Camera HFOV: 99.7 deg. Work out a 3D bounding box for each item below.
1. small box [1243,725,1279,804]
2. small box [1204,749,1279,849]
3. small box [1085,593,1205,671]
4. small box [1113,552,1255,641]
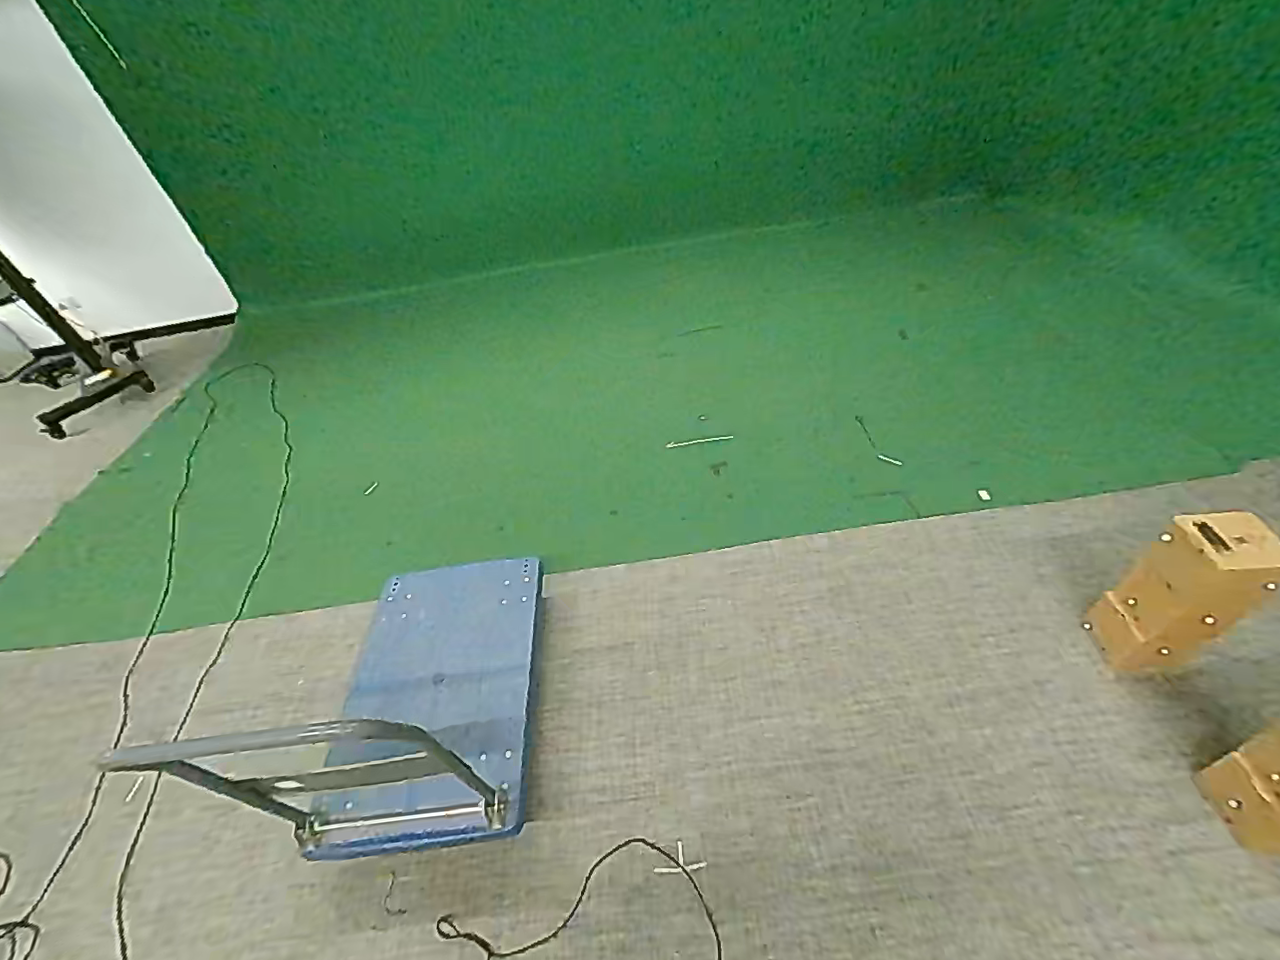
[{"bbox_3d":[1.454,0.606,1.126,0.179,0.176,0.168,-4,43,7],"label":"small box"},{"bbox_3d":[1.468,0.726,1.239,0.179,0.176,0.168,-9,43,5],"label":"small box"},{"bbox_3d":[1.446,0.440,1.570,0.179,0.176,0.168,-5,44,6],"label":"small box"},{"bbox_3d":[1.436,0.313,1.443,0.179,0.176,0.168,-5,44,7],"label":"small box"}]
